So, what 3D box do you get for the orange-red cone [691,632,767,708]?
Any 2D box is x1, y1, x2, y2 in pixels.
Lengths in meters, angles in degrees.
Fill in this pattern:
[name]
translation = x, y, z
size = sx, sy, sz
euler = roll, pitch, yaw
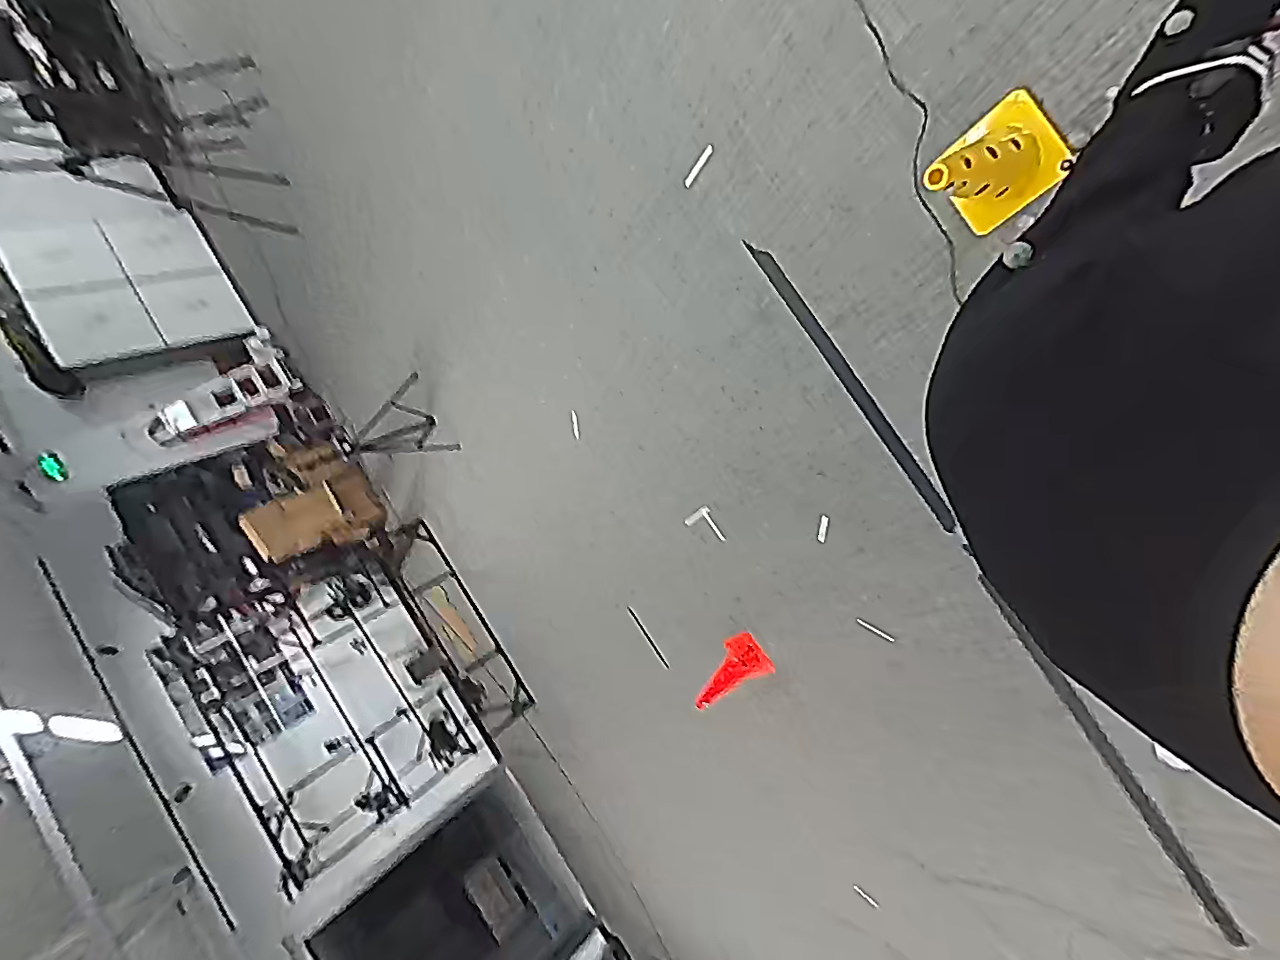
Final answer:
[orange-red cone]
translation = 0.343, 0.842, 2.299
size = 0.199, 0.360, 0.198
euler = 53, 143, 7
